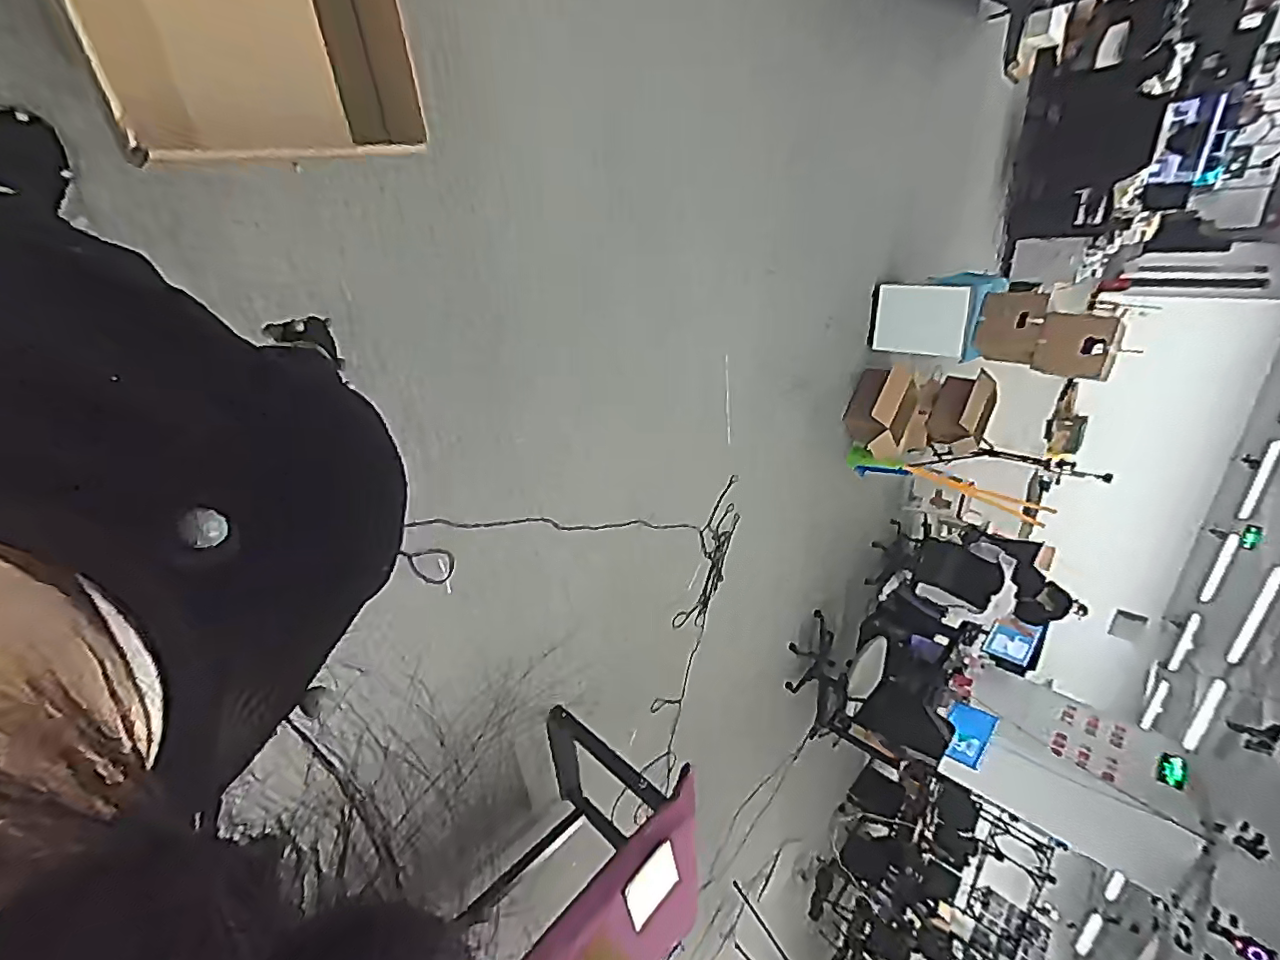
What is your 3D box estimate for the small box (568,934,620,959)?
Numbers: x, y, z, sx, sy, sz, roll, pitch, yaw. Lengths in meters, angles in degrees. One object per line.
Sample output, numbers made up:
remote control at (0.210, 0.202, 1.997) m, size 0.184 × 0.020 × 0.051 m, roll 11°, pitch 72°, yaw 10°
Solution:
small box at (-0.129, 1.451, 1.531) m, size 0.168 × 0.176 × 0.179 m, roll -25°, pitch 122°, yaw -38°
